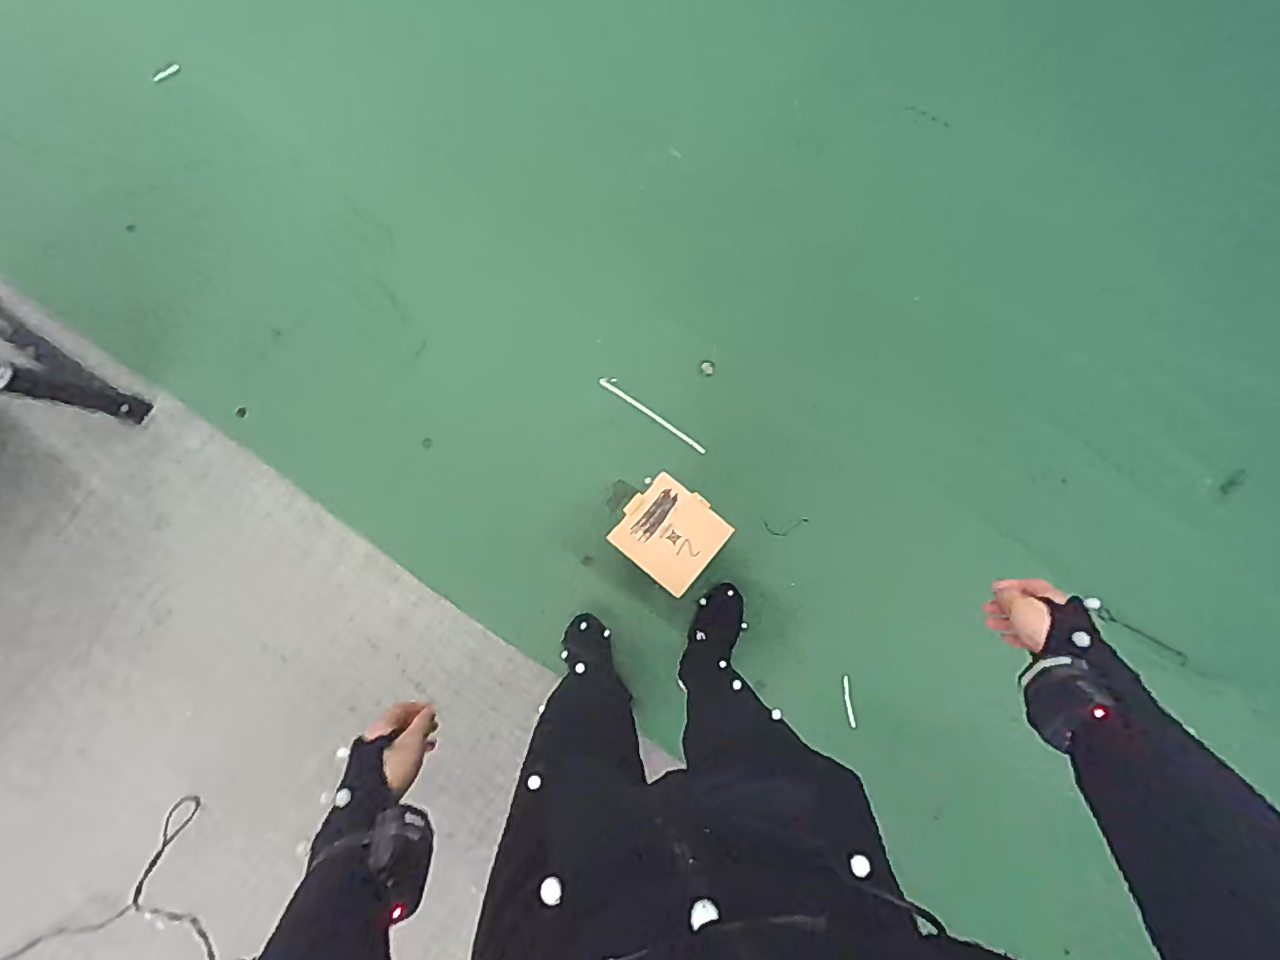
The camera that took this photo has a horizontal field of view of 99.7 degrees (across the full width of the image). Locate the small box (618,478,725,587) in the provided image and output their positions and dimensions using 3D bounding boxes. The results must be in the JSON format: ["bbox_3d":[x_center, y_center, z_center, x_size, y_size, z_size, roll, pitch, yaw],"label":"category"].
[{"bbox_3d":[0.071,0.118,1.233,0.168,0.176,0.179,43,87,4],"label":"small box"}]
